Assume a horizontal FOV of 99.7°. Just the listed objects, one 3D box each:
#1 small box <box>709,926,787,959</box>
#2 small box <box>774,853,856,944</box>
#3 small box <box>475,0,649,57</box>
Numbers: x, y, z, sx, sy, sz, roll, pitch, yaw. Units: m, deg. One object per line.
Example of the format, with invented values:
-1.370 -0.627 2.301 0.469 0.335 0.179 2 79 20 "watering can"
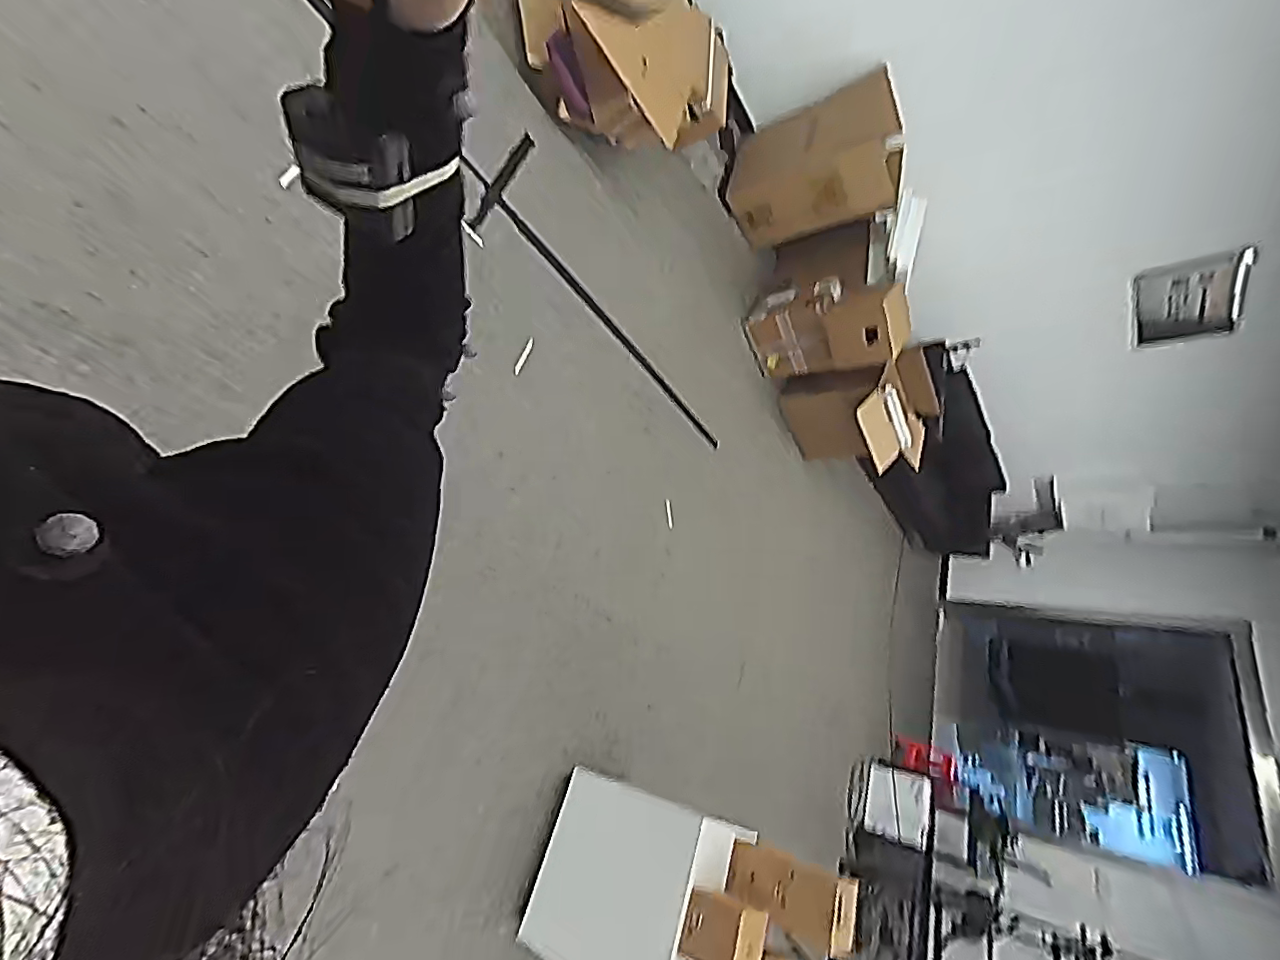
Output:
0.308 1.446 1.588 0.179 0.176 0.168 44 55 -38 "small box"
0.514 1.224 1.590 0.179 0.176 0.168 40 59 -40 "small box"
-0.072 -0.242 0.105 0.168 0.176 0.179 -24 145 -60 "small box"
